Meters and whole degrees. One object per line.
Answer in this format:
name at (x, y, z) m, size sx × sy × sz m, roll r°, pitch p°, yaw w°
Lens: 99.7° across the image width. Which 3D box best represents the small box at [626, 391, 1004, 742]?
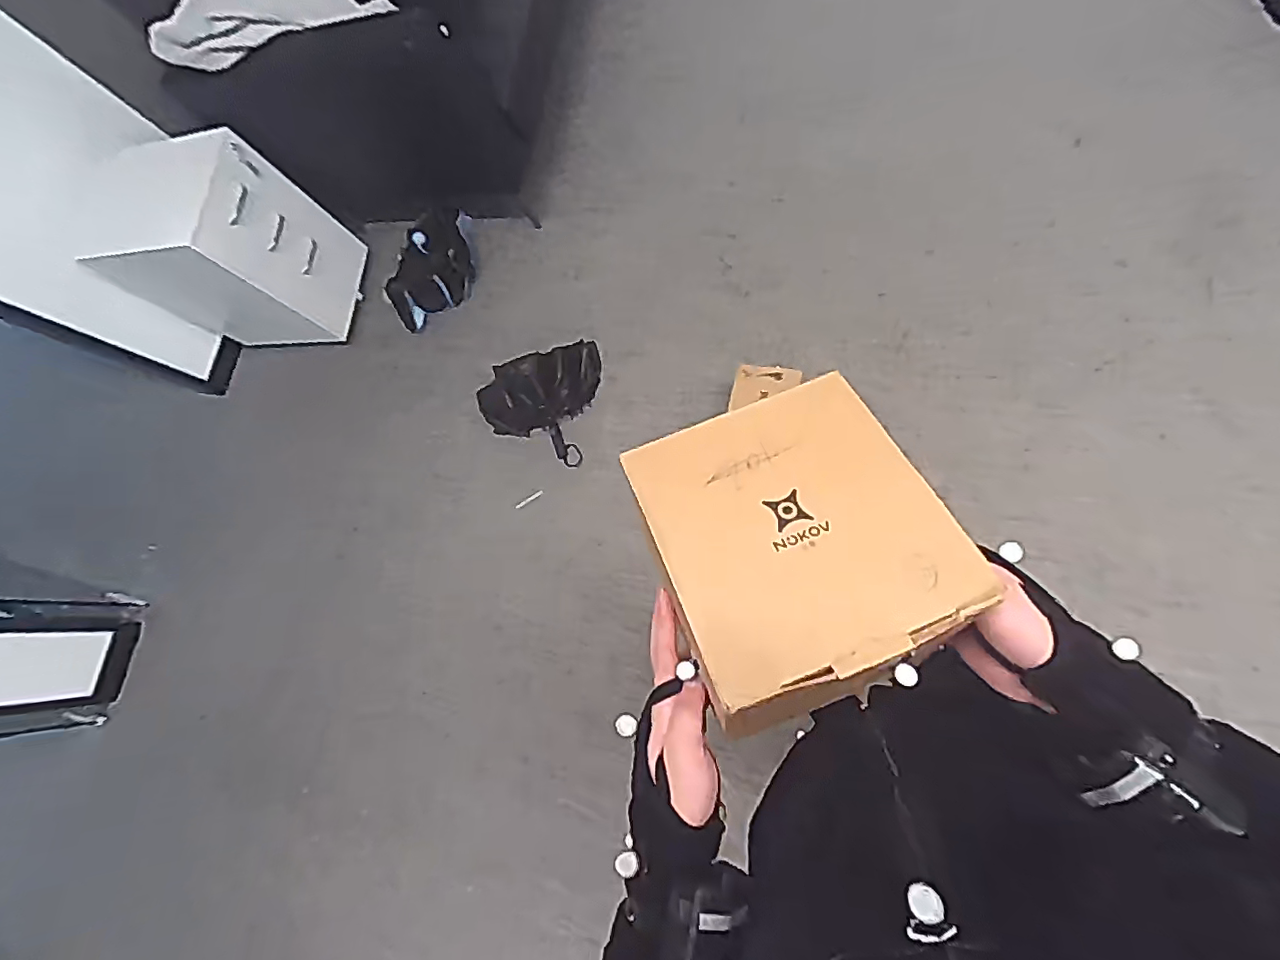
small box at (0.105, 0.073, 0.396) m, size 0.168 × 0.176 × 0.179 m, roll -21°, pitch 56°, yaw -5°
